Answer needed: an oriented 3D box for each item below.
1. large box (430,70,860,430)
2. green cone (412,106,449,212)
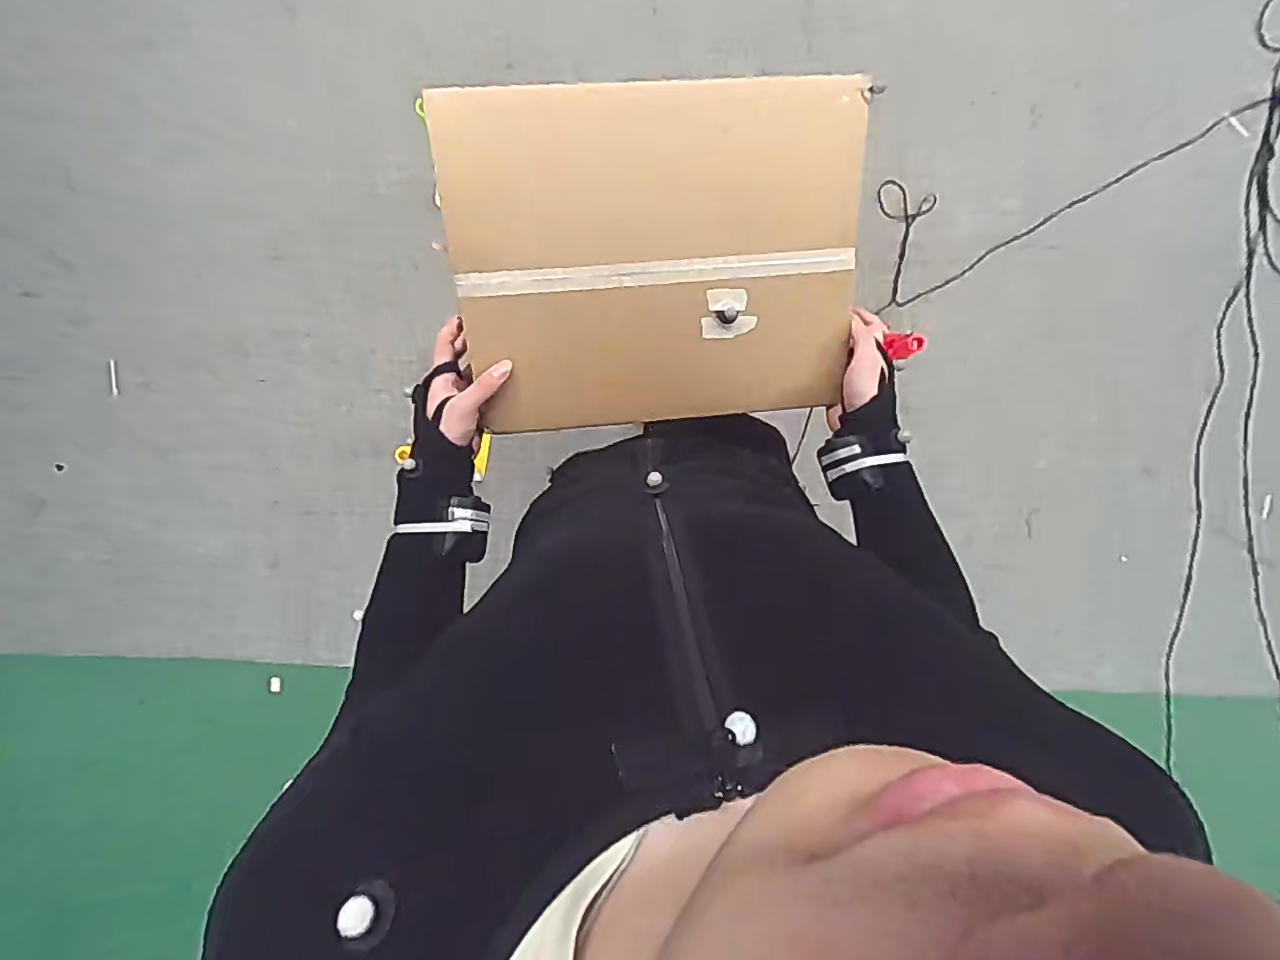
[{"bbox_3d":[0.002,-0.276,0.682,0.408,0.320,0.320,-7,115,-5],"label":"large box"},{"bbox_3d":[-0.471,-0.814,1.330,0.200,0.368,0.202,8,99,0],"label":"green cone"}]
